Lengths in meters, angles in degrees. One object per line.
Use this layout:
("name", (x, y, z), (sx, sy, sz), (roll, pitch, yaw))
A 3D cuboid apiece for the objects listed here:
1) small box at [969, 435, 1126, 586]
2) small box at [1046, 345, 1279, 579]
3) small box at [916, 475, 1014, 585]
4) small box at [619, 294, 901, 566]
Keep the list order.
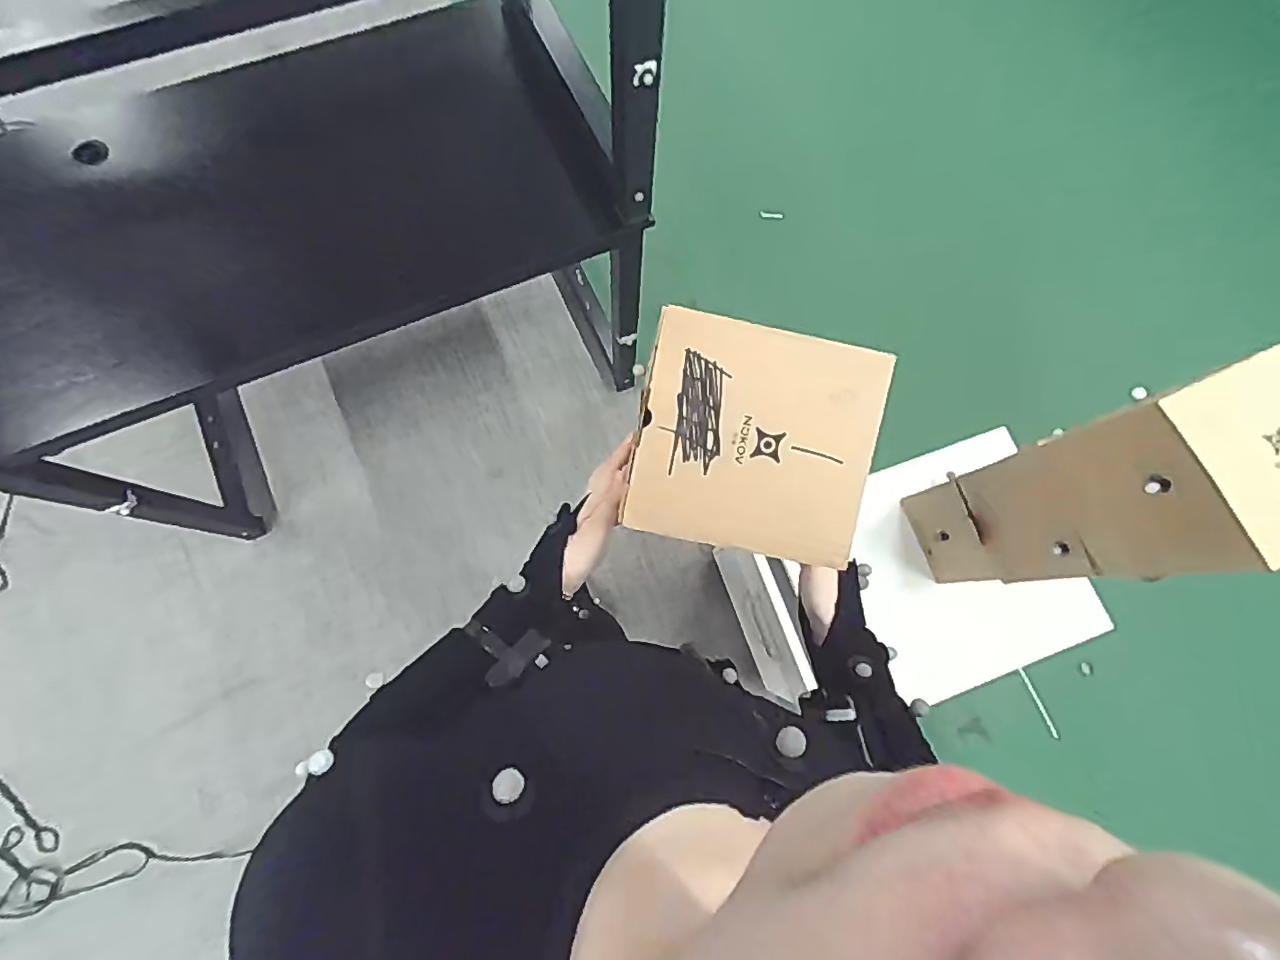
("small box", (0.588, 0.034, 0.723), (0.168, 0.176, 0.179), (-16, 78, -6))
("small box", (0.587, -0.008, 0.564), (0.168, 0.176, 0.179), (-23, 79, -7))
("small box", (0.585, 0.068, 0.882), (0.179, 0.176, 0.168), (-18, 78, -6))
("small box", (0.080, -0.037, 0.458), (0.179, 0.176, 0.168), (11, 92, -5))
